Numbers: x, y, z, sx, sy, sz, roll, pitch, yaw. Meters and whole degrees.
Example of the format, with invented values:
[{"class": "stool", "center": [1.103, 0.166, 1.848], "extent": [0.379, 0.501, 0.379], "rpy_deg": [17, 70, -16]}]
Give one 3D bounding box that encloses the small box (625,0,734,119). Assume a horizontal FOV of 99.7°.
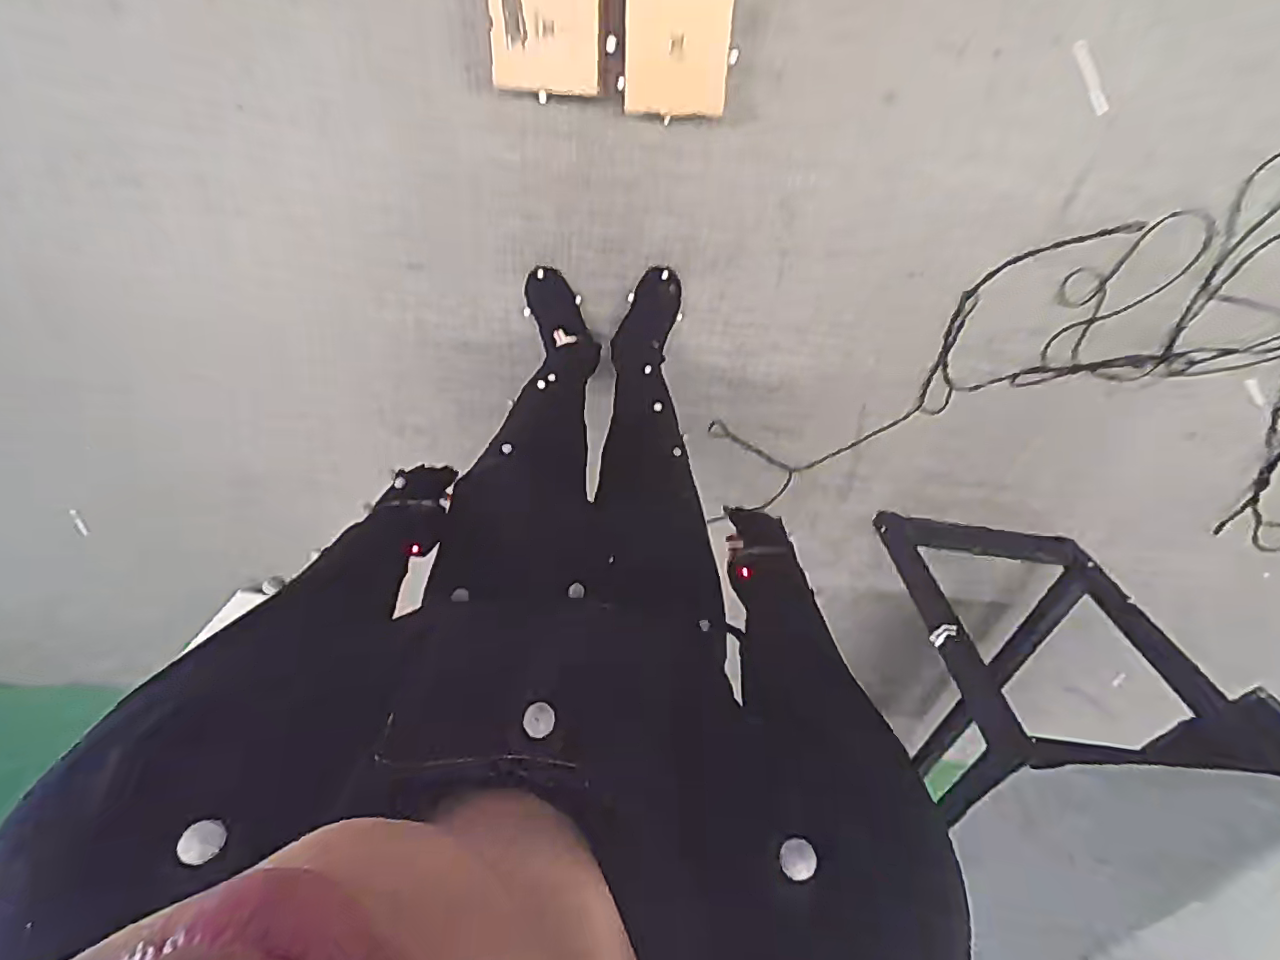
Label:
[{"class": "small box", "center": [0.062, -0.725, 0.922], "extent": [0.168, 0.176, 0.179], "rpy_deg": [3, 124, 2]}]
